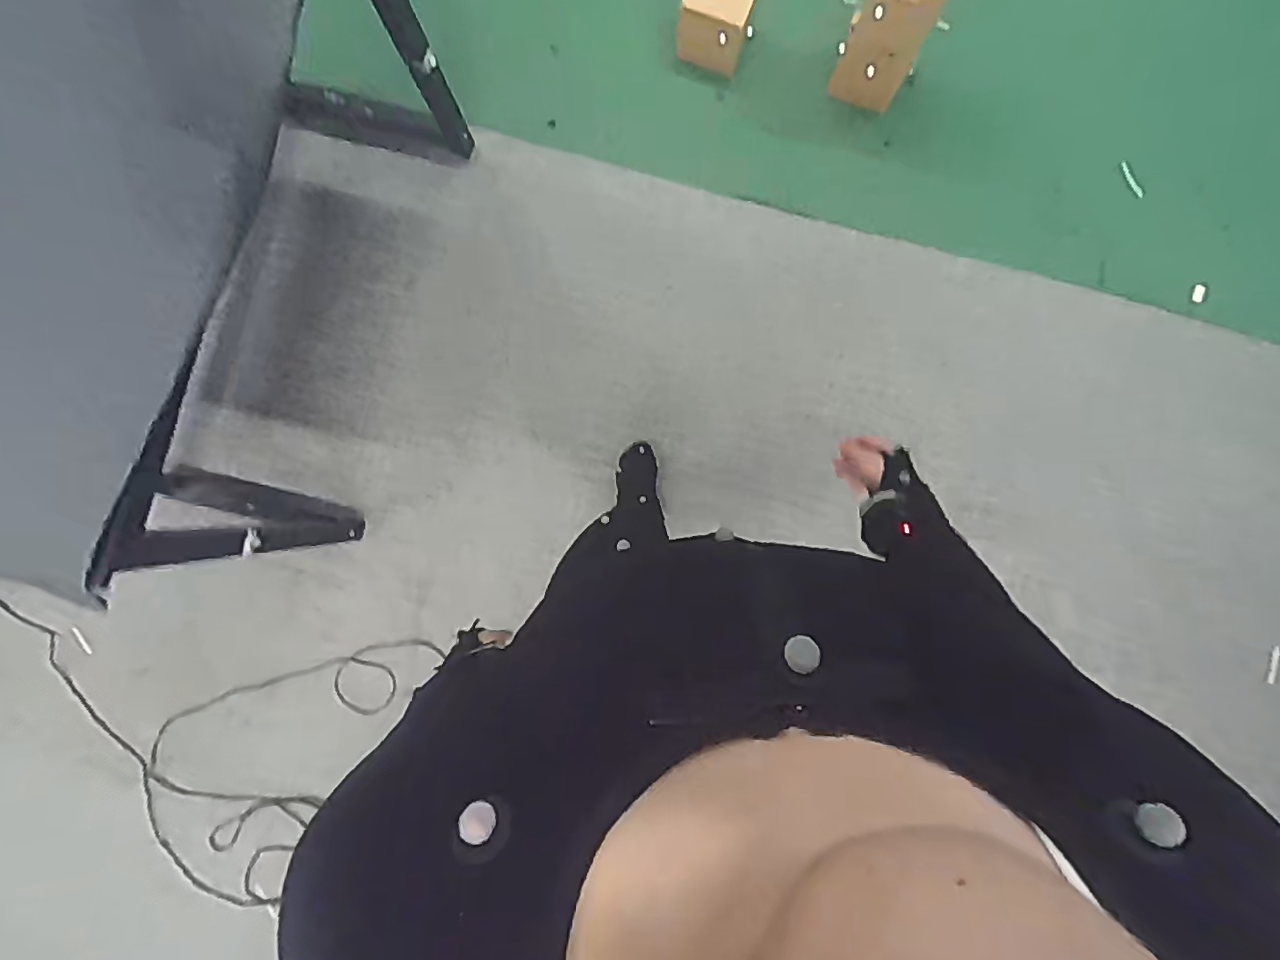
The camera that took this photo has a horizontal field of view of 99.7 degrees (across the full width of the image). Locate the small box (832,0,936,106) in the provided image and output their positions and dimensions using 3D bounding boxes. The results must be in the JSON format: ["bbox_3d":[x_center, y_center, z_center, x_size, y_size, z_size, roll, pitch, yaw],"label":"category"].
[{"bbox_3d":[0.647,-1.155,1.454,0.179,0.176,0.168,19,88,2],"label":"small box"}]

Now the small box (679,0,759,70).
[{"bbox_3d":[0.217,-1.260,1.459,0.179,0.176,0.168,21,87,1],"label":"small box"}]
